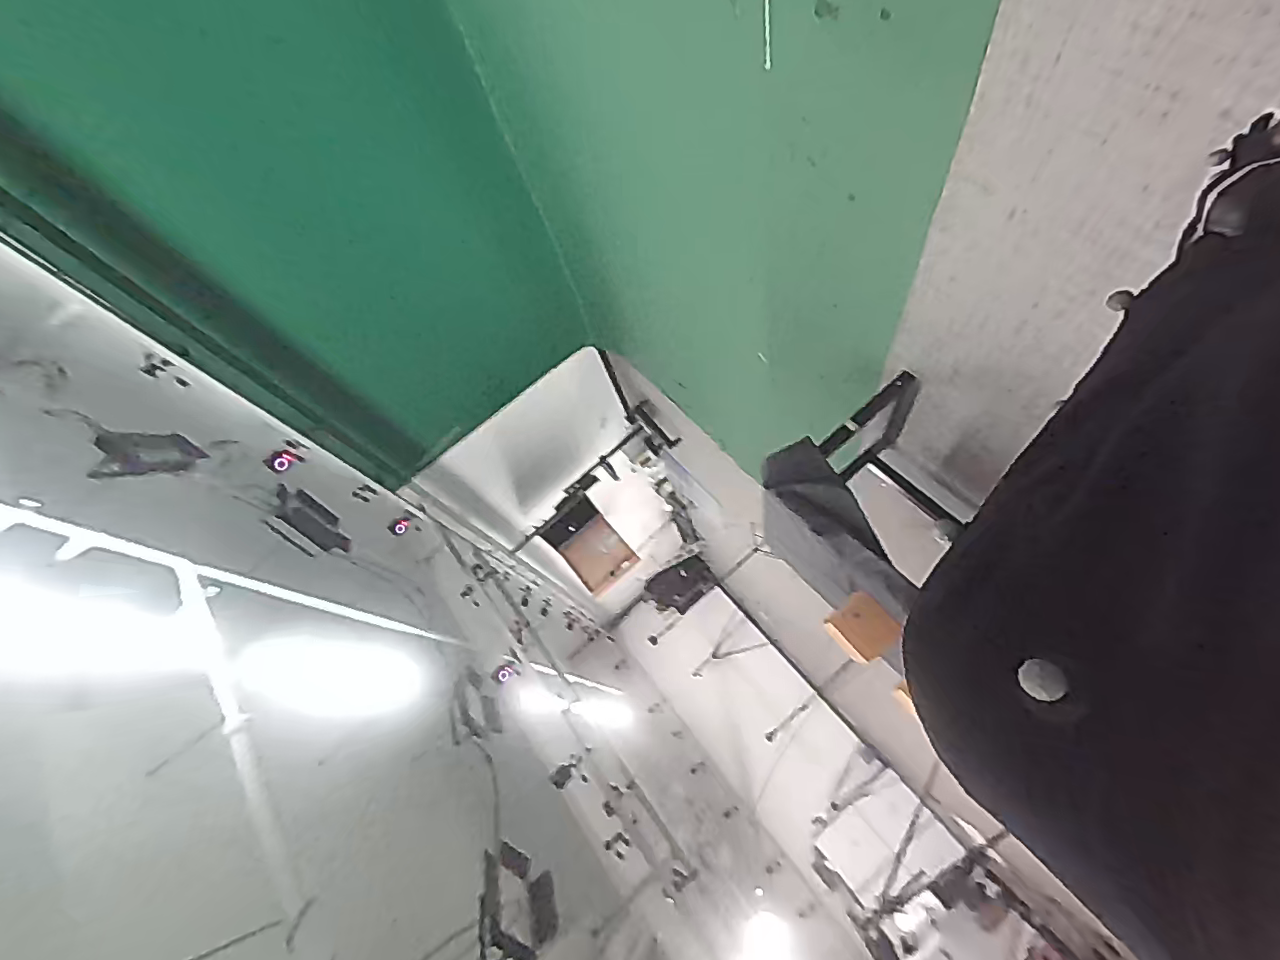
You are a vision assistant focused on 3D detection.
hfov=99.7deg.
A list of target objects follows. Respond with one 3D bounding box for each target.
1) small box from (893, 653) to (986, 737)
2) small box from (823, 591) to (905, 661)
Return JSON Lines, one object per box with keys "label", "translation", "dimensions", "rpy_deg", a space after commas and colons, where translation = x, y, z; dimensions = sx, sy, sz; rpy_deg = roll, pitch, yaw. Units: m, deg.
{"label": "small box", "translation": [0.936, 0.671, 1.694], "dimensions": [0.179, 0.176, 0.168], "rpy_deg": [49, 175, 25]}
{"label": "small box", "translation": [0.772, 0.500, 1.873], "dimensions": [0.179, 0.176, 0.168], "rpy_deg": [48, 174, 17]}
